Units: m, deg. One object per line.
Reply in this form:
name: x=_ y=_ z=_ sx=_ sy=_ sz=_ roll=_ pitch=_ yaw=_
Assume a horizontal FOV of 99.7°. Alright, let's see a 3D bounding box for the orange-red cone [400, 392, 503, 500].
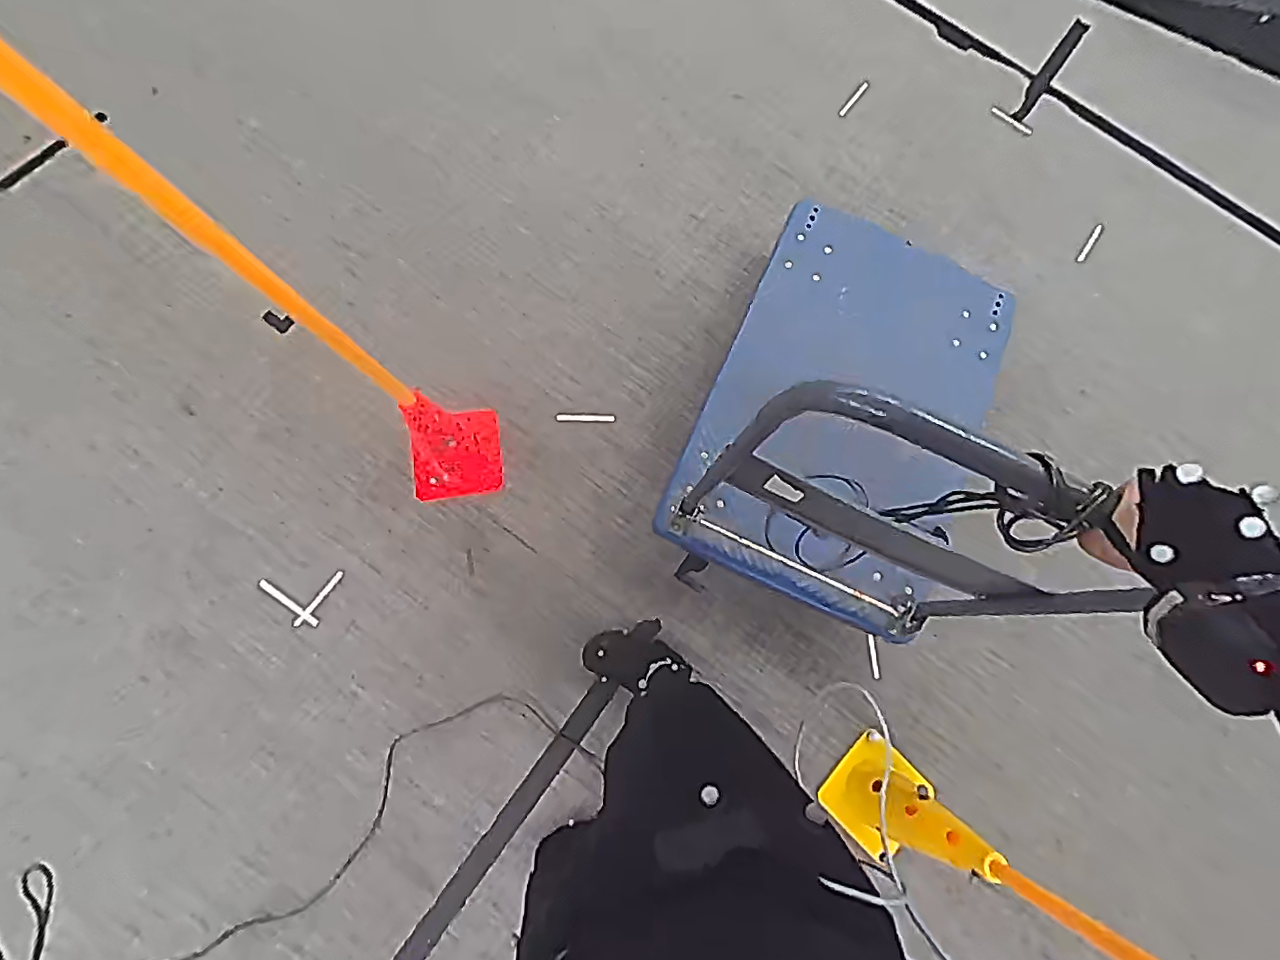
orange-red cone: x=-0.399 y=-0.094 z=1.070 sx=0.199 sy=0.360 sz=0.198 roll=-7 pitch=79 yaw=-8
